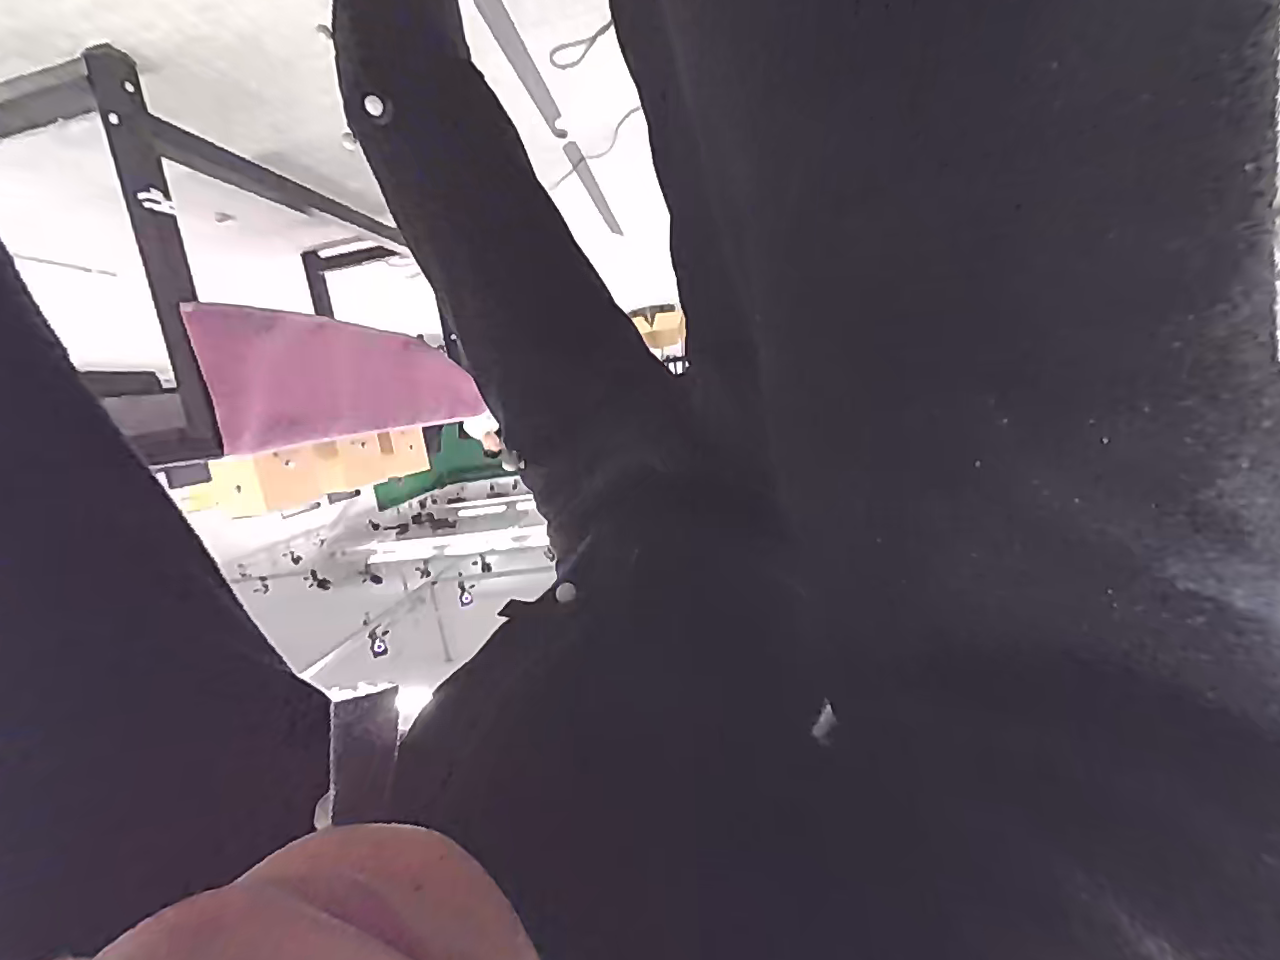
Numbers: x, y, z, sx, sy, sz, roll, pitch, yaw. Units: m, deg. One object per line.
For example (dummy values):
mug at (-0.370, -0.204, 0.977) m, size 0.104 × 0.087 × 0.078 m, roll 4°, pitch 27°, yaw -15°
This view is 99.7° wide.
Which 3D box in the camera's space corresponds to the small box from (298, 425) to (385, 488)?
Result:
small box at (-0.941, -0.077, 1.692) m, size 0.179 × 0.176 × 0.168 m, roll -5°, pitch -169°, yaw 18°

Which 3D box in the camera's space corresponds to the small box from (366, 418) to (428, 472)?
small box at (-0.899, -0.126, 1.937) m, size 0.179 × 0.176 × 0.168 m, roll -5°, pitch -170°, yaw 17°

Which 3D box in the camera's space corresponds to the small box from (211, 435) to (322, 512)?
small box at (-0.995, -0.022, 1.437) m, size 0.179 × 0.176 × 0.168 m, roll -6°, pitch -169°, yaw 22°
